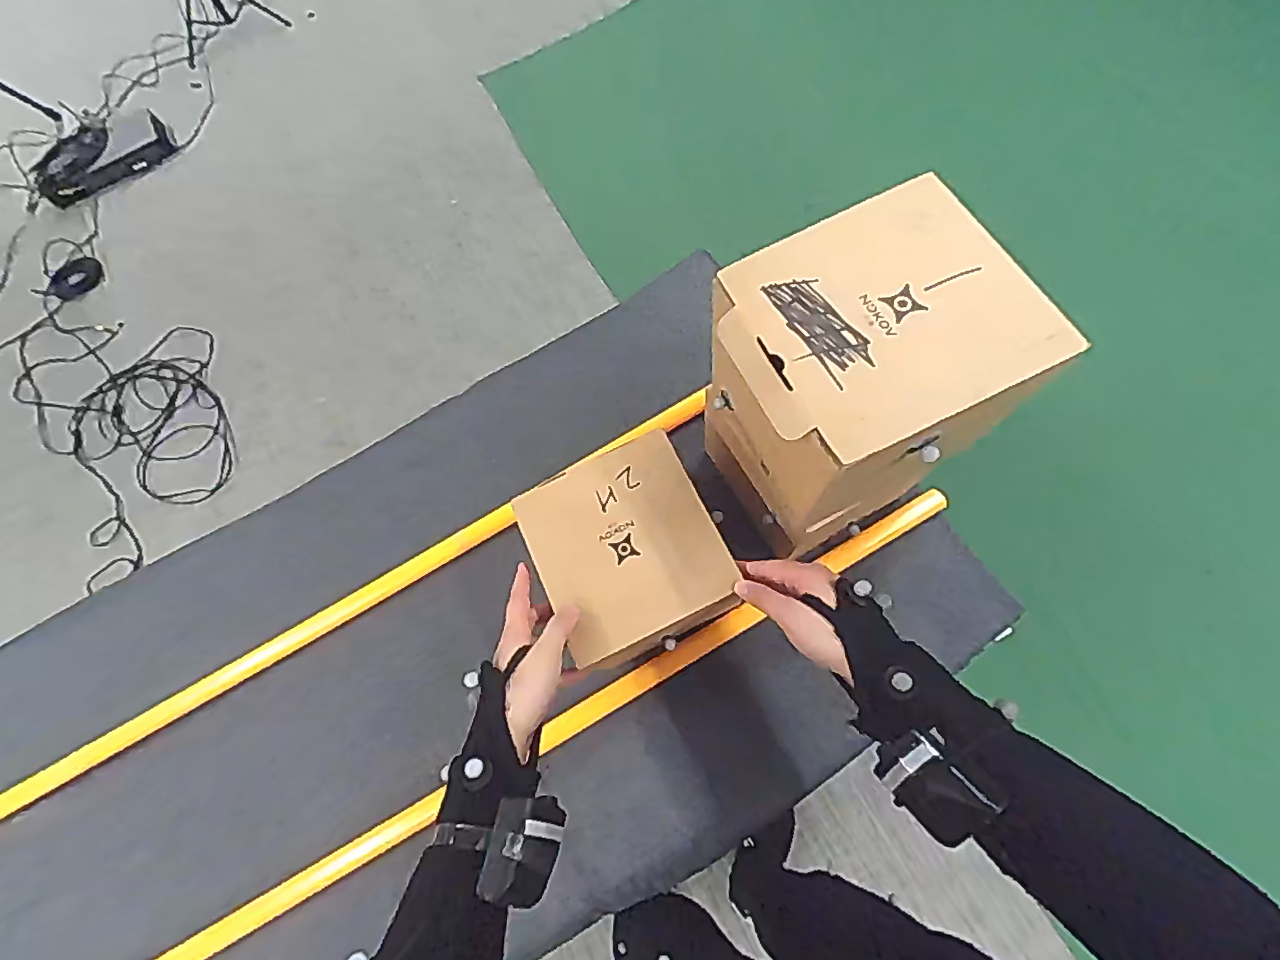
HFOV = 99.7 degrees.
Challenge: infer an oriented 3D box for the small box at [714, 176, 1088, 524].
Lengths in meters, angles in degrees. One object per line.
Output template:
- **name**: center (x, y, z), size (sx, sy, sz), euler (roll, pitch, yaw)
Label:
- **small box**: center (0.171, -0.084, 0.425), size (0.179, 0.176, 0.168), euler (-26, 71, -2)
